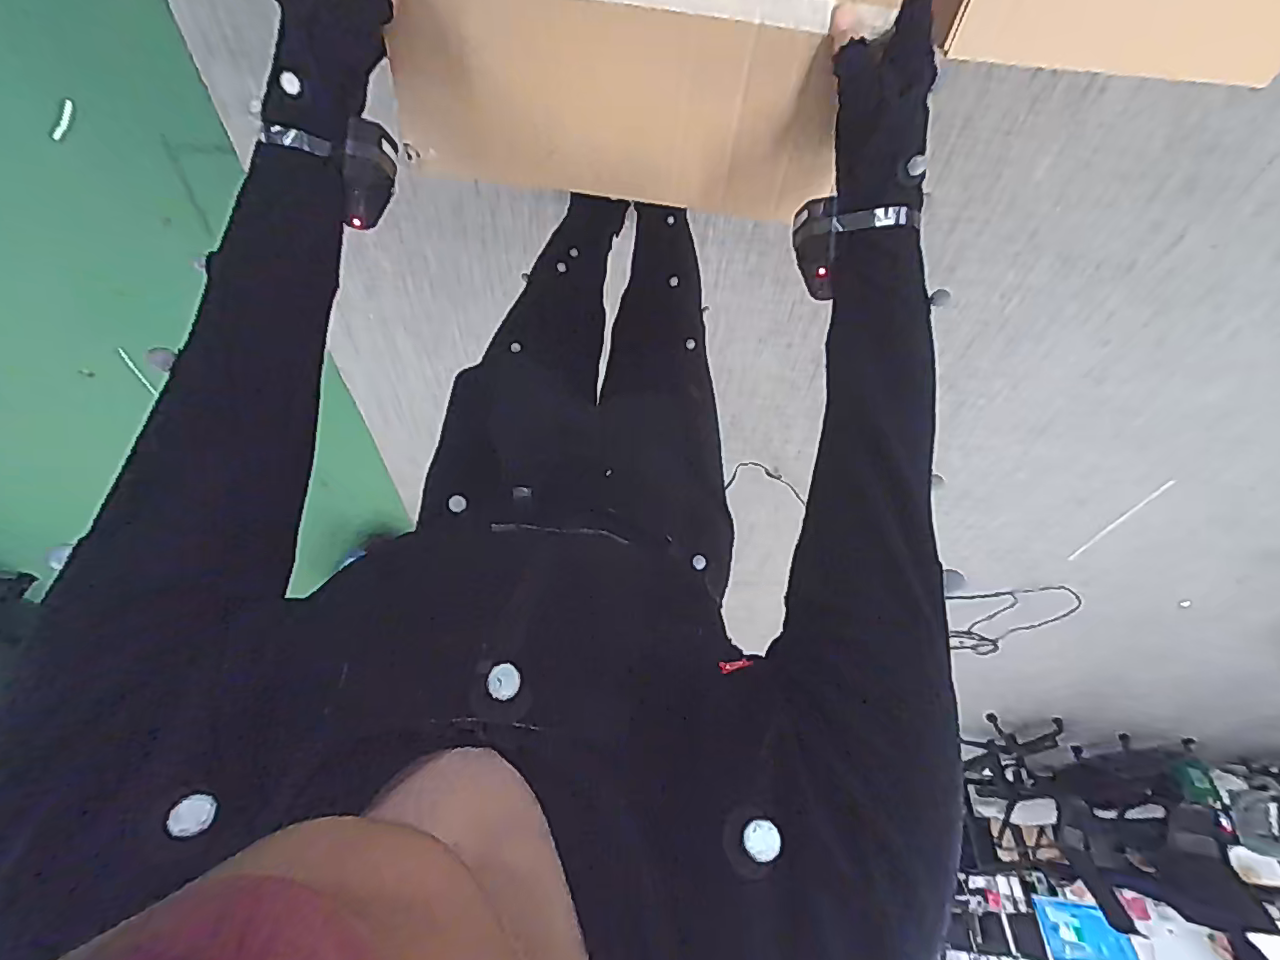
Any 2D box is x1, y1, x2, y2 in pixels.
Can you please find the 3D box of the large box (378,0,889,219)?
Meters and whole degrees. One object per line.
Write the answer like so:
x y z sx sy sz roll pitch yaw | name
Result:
0.005 -0.491 0.506 0.408 0.320 0.320 8 141 -1 | large box
